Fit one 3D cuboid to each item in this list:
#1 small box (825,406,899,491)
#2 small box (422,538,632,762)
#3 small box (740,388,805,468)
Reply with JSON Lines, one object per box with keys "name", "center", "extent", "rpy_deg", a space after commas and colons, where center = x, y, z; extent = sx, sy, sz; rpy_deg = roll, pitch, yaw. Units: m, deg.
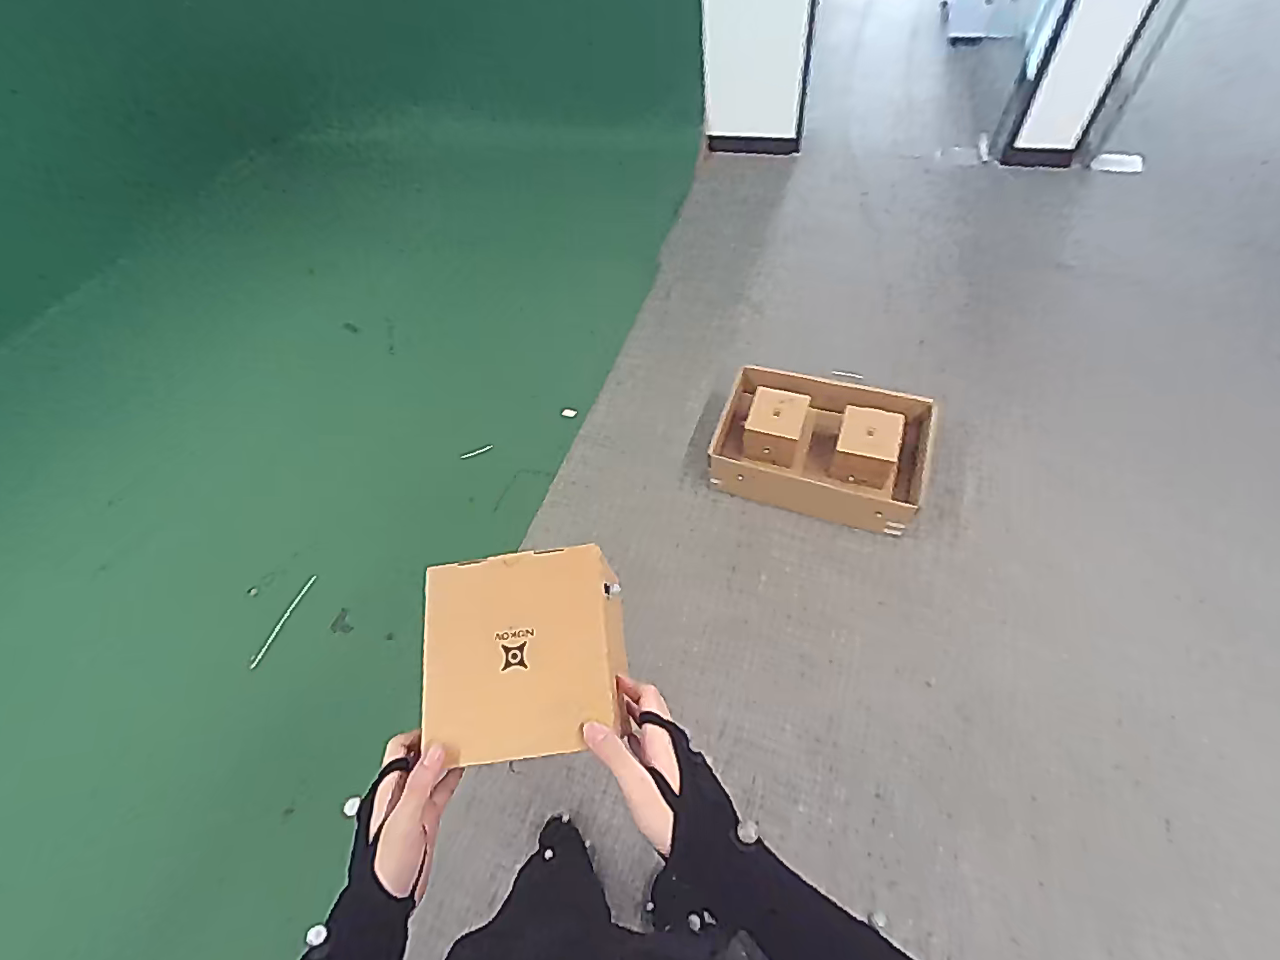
{"name": "small box", "center": [0.677, -0.095, 1.661], "extent": [0.168, 0.176, 0.179], "rpy_deg": [14, 62, 18]}
{"name": "small box", "center": [-0.102, 0.173, 0.549], "extent": [0.168, 0.176, 0.179], "rpy_deg": [-7, 67, 2]}
{"name": "small box", "center": [0.421, -0.162, 1.737], "extent": [0.168, 0.176, 0.179], "rpy_deg": [15, 61, 16]}
